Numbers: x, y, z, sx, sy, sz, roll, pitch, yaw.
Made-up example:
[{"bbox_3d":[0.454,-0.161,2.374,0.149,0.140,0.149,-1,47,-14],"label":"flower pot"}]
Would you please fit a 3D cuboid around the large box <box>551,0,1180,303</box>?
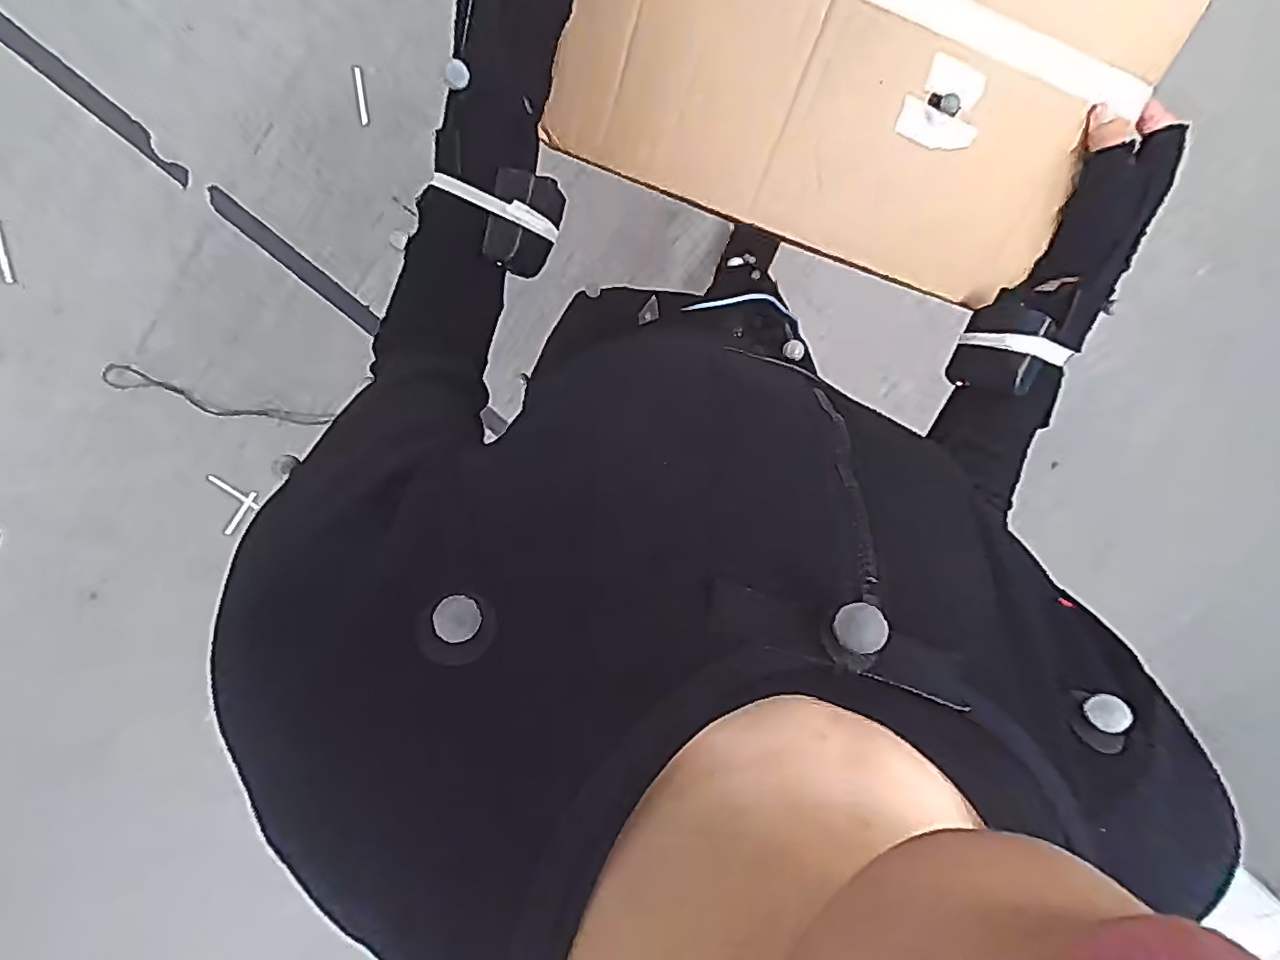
[{"bbox_3d":[0.160,-0.402,0.502,0.408,0.320,0.320,16,118,-10],"label":"large box"}]
